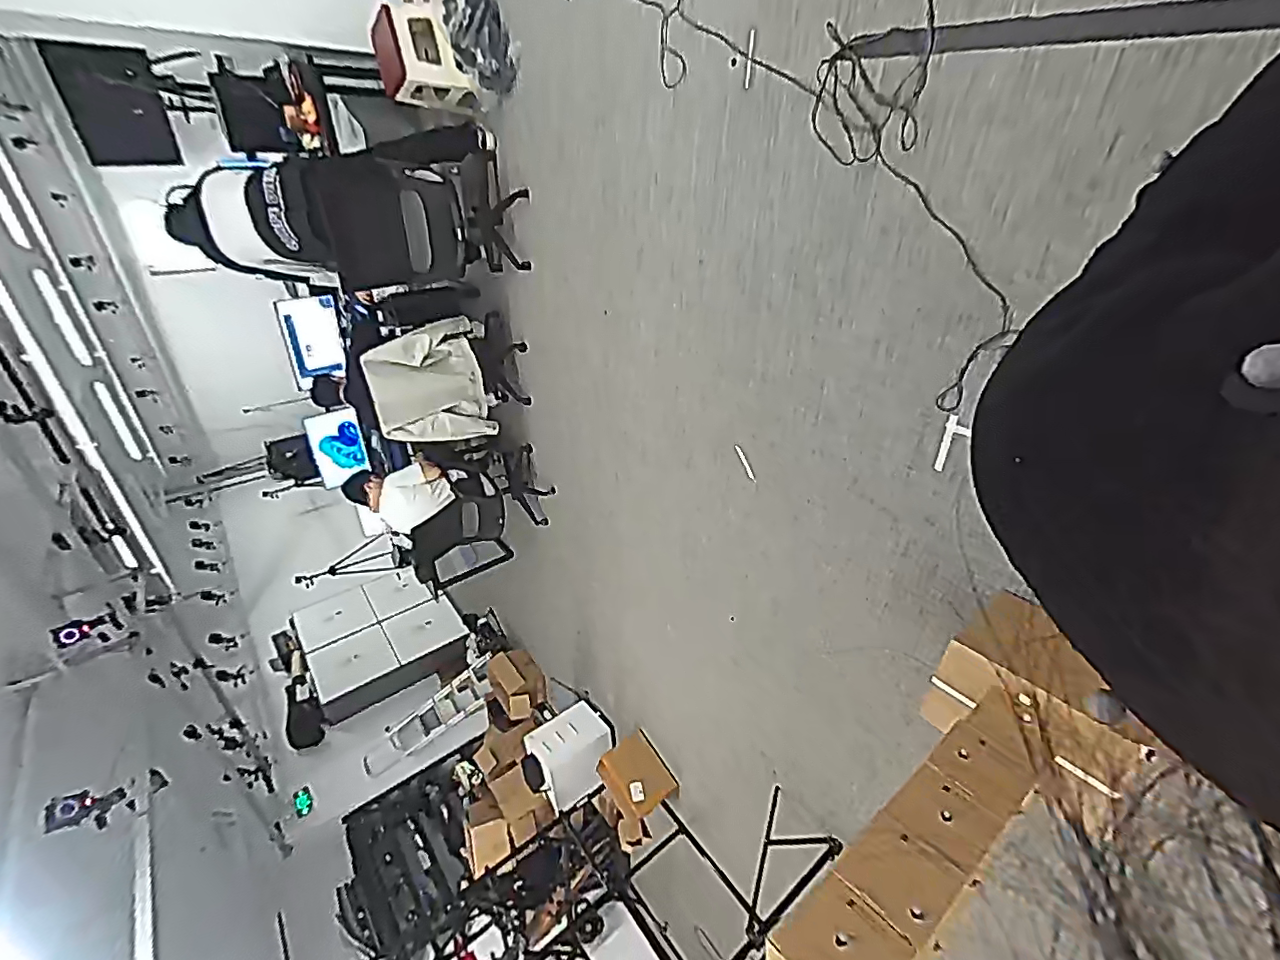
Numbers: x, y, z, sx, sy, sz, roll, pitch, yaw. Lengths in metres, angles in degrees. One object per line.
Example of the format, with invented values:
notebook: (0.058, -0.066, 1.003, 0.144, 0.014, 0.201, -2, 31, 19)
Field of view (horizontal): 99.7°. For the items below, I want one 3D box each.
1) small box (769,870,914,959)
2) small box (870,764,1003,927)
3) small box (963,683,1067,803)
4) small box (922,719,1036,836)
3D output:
small box: (0.335, 0.816, 0.906, 0.168, 0.176, 0.179, 23, 125, 49)
small box: (0.593, 0.718, 1.083, 0.168, 0.176, 0.179, 28, 129, 47)
small box: (0.849, 0.619, 1.259, 0.168, 0.176, 0.179, 32, 132, 43)
small box: (0.720, 0.662, 1.172, 0.168, 0.176, 0.179, 32, 133, 45)
